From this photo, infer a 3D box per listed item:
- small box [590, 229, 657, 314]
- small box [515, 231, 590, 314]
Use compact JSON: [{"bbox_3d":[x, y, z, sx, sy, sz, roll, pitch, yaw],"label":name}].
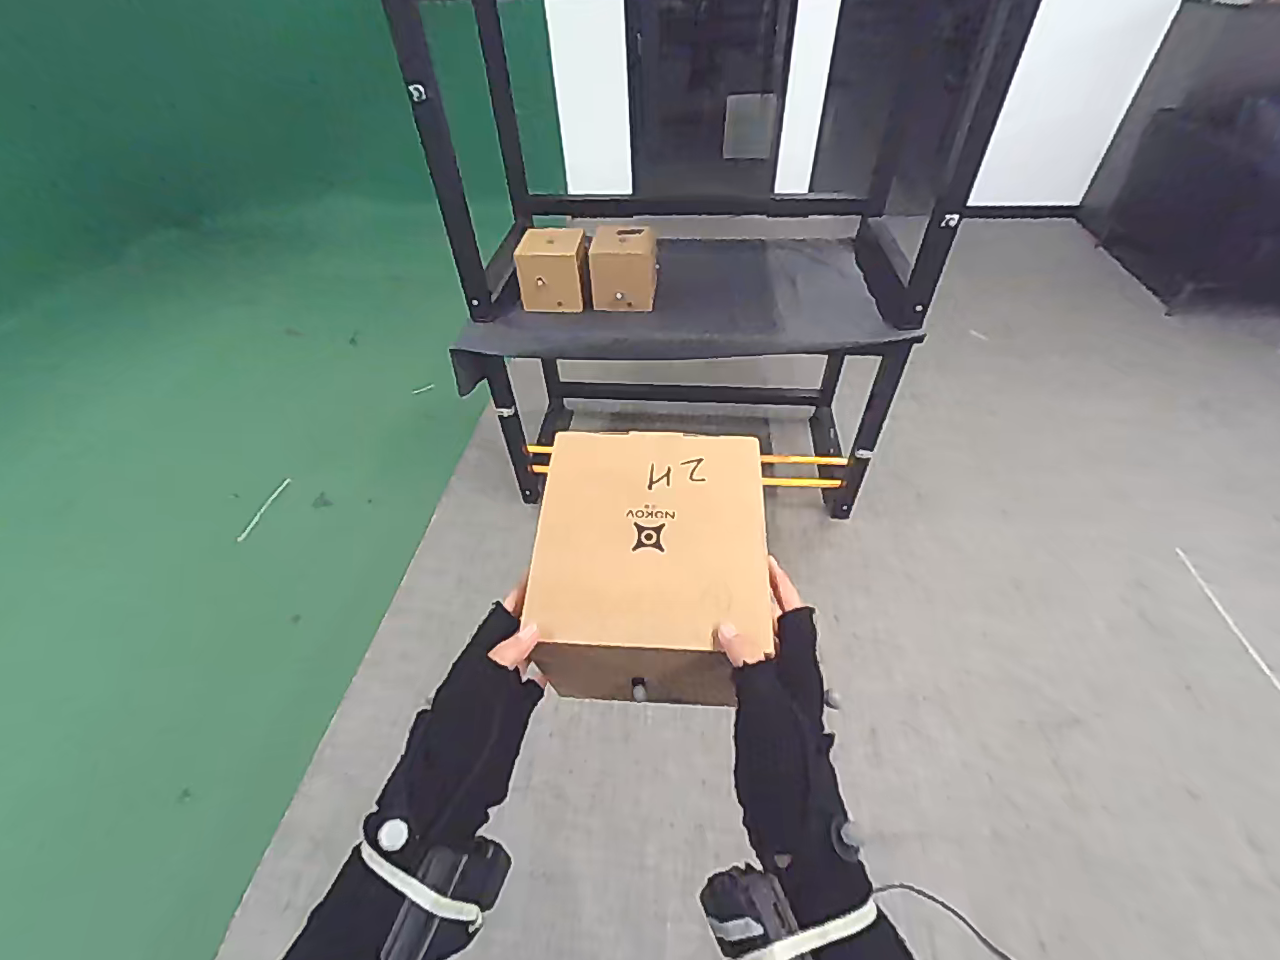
[{"bbox_3d":[-0.040,-0.582,1.508,0.168,0.176,0.179,2,46,6],"label":"small box"},{"bbox_3d":[-0.236,-0.581,1.517,0.168,0.176,0.179,2,45,4],"label":"small box"}]
